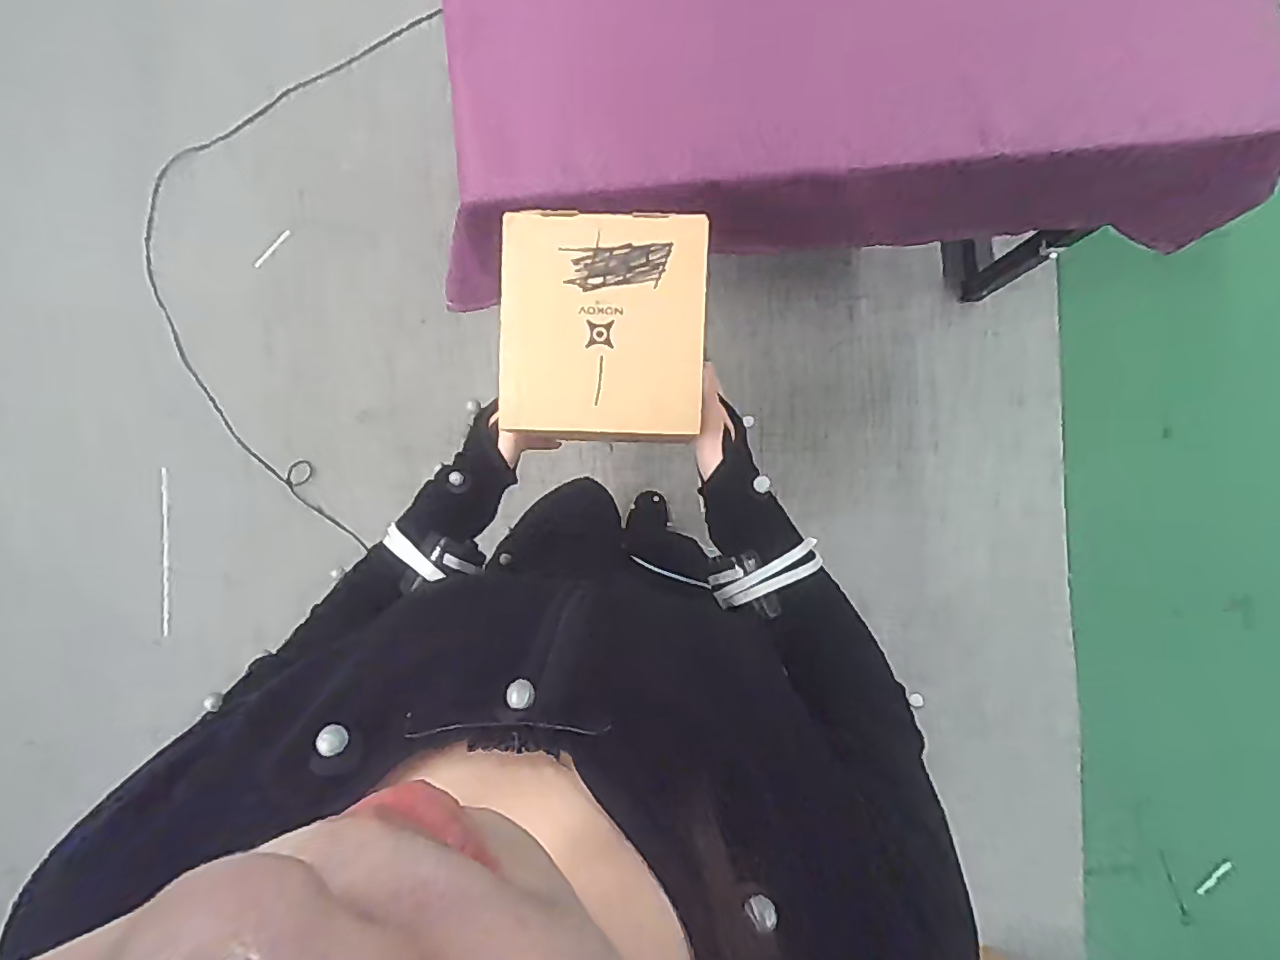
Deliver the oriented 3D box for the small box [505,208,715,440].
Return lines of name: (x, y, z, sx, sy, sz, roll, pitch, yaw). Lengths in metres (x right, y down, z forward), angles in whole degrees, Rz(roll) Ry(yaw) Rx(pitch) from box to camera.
small box: (-0.023, -0.131, 0.514, 0.168, 0.176, 0.179, 2, 93, 2)
